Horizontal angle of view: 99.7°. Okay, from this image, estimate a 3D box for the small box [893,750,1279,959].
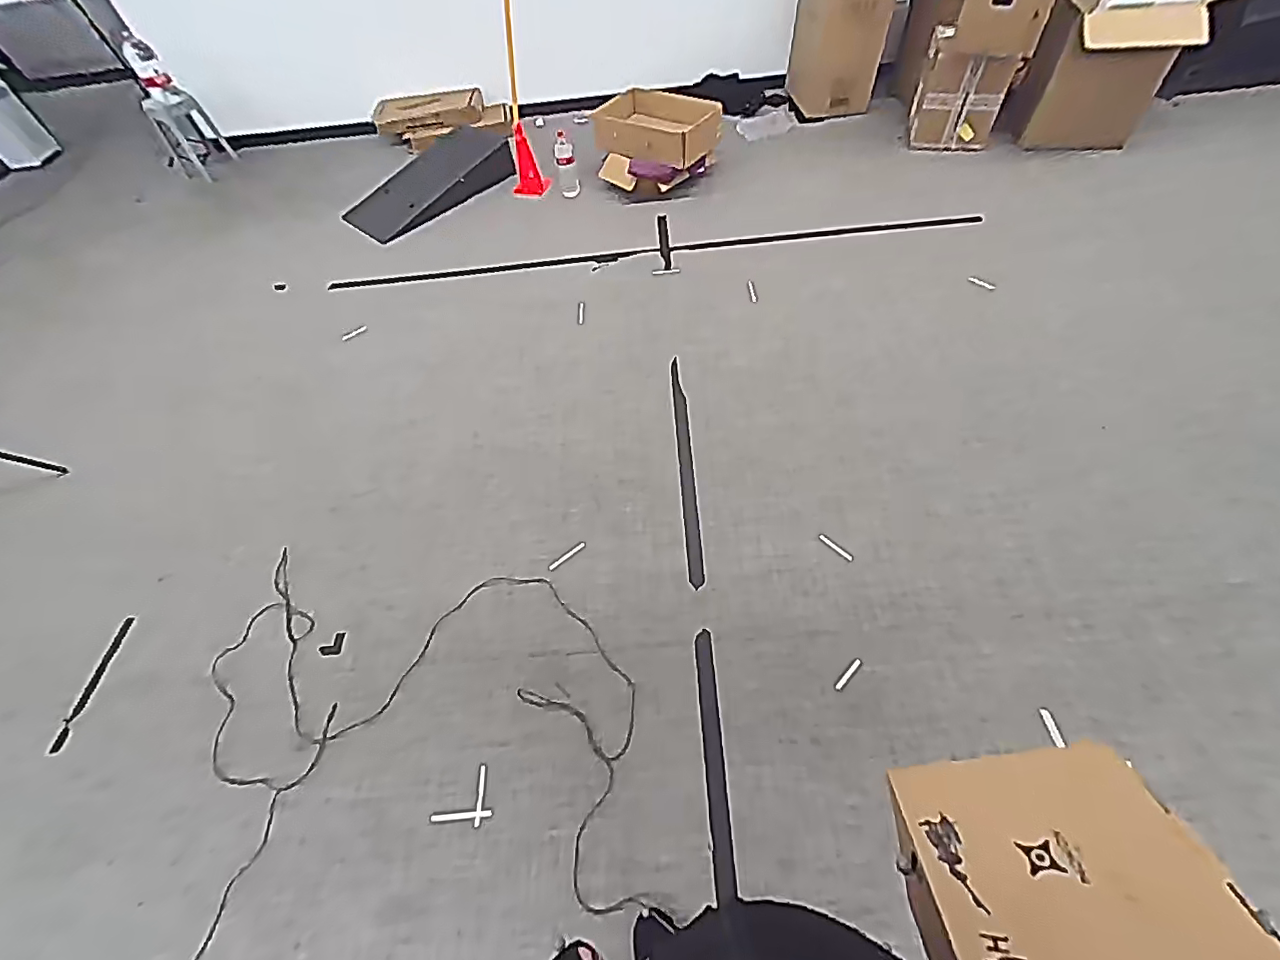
[{"bbox_3d":[0.316,0.343,0.413,0.179,0.176,0.168,-13,20,11],"label":"small box"}]
